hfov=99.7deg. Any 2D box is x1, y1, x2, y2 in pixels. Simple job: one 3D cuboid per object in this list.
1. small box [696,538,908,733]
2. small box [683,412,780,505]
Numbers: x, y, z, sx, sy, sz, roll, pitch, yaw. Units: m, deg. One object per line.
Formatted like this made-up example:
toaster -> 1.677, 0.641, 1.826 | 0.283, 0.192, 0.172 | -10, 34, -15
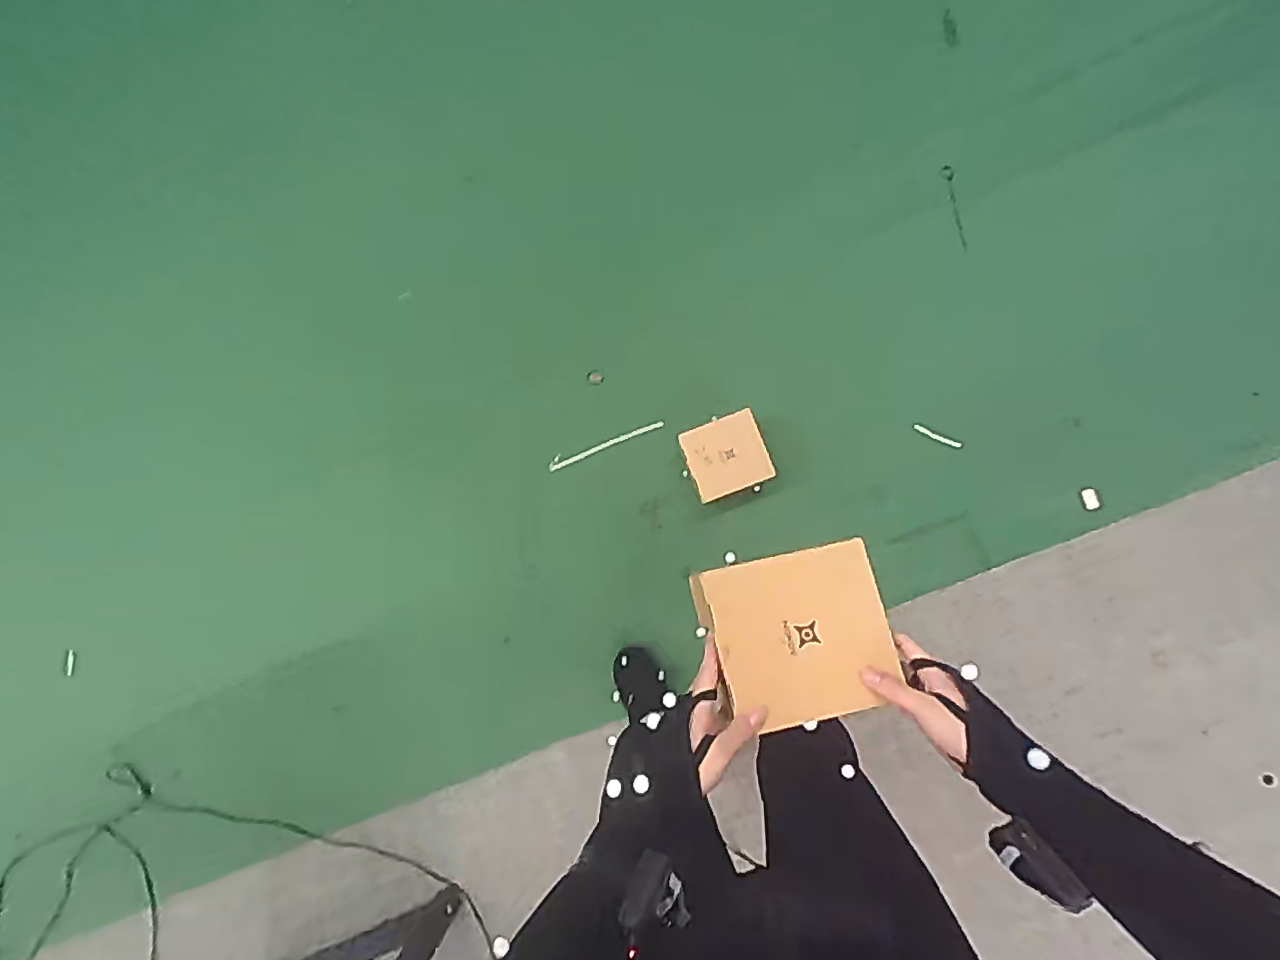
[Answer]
small box -> 0.170, 0.169, 0.629 | 0.179, 0.176, 0.168 | -14, 79, 1
small box -> 0.208, -0.045, 1.285 | 0.179, 0.176, 0.168 | -21, 85, 3
